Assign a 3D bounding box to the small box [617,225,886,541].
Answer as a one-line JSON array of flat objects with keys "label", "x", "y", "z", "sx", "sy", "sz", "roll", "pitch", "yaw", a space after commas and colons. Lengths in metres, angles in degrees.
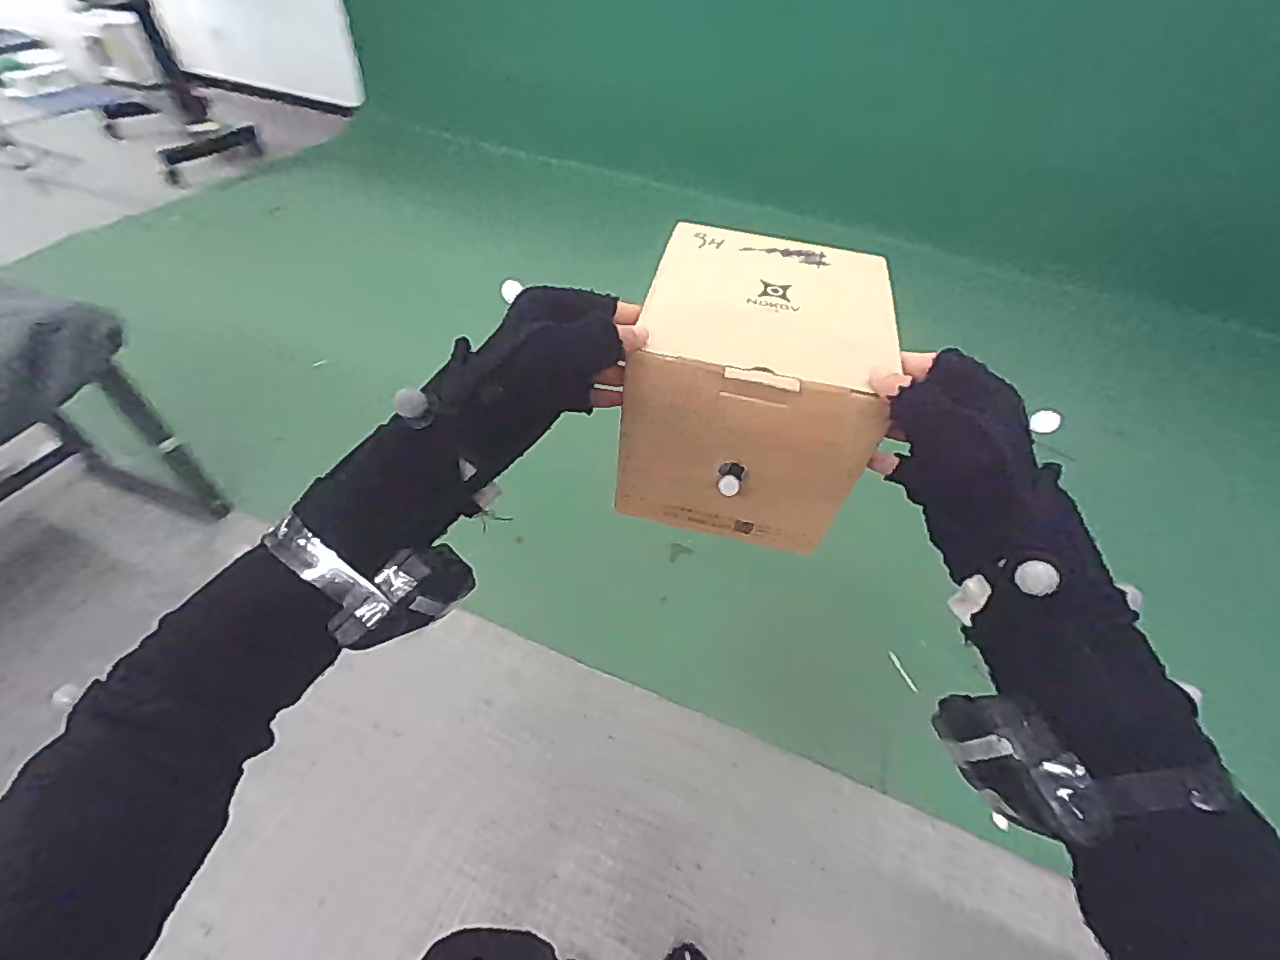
[{"label": "small box", "x": 0.079, "y": -0.073, "z": 0.438, "sx": 0.168, "sy": 0.176, "sz": 0.179, "roll": 12, "pitch": 51, "yaw": 4}]
